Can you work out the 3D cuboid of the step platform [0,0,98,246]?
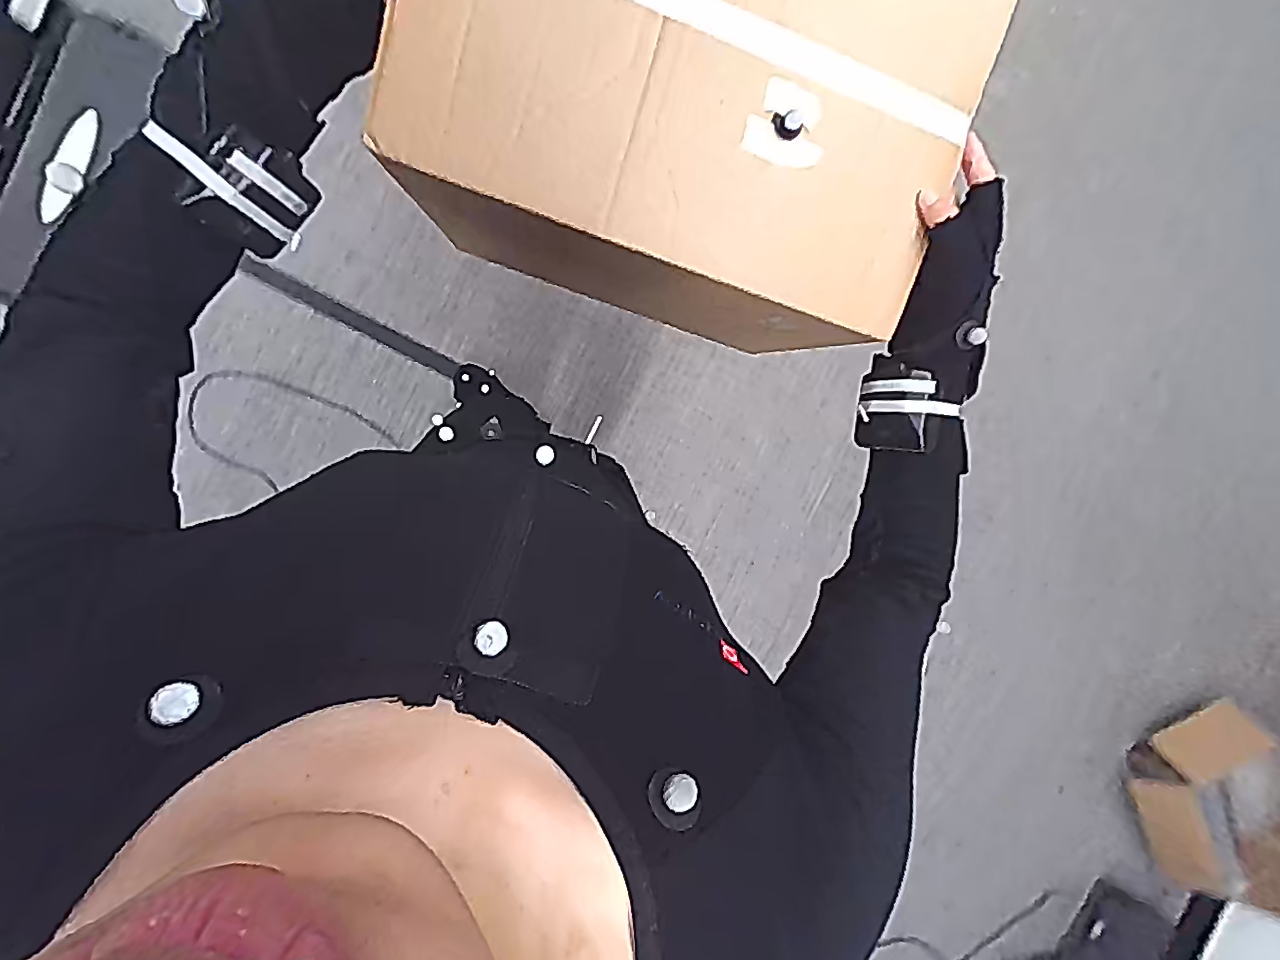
[{"bbox_3d":[-1.485,-0.869,1.145,0.286,0.204,0.684,24,91,-8],"label":"step platform"}]
